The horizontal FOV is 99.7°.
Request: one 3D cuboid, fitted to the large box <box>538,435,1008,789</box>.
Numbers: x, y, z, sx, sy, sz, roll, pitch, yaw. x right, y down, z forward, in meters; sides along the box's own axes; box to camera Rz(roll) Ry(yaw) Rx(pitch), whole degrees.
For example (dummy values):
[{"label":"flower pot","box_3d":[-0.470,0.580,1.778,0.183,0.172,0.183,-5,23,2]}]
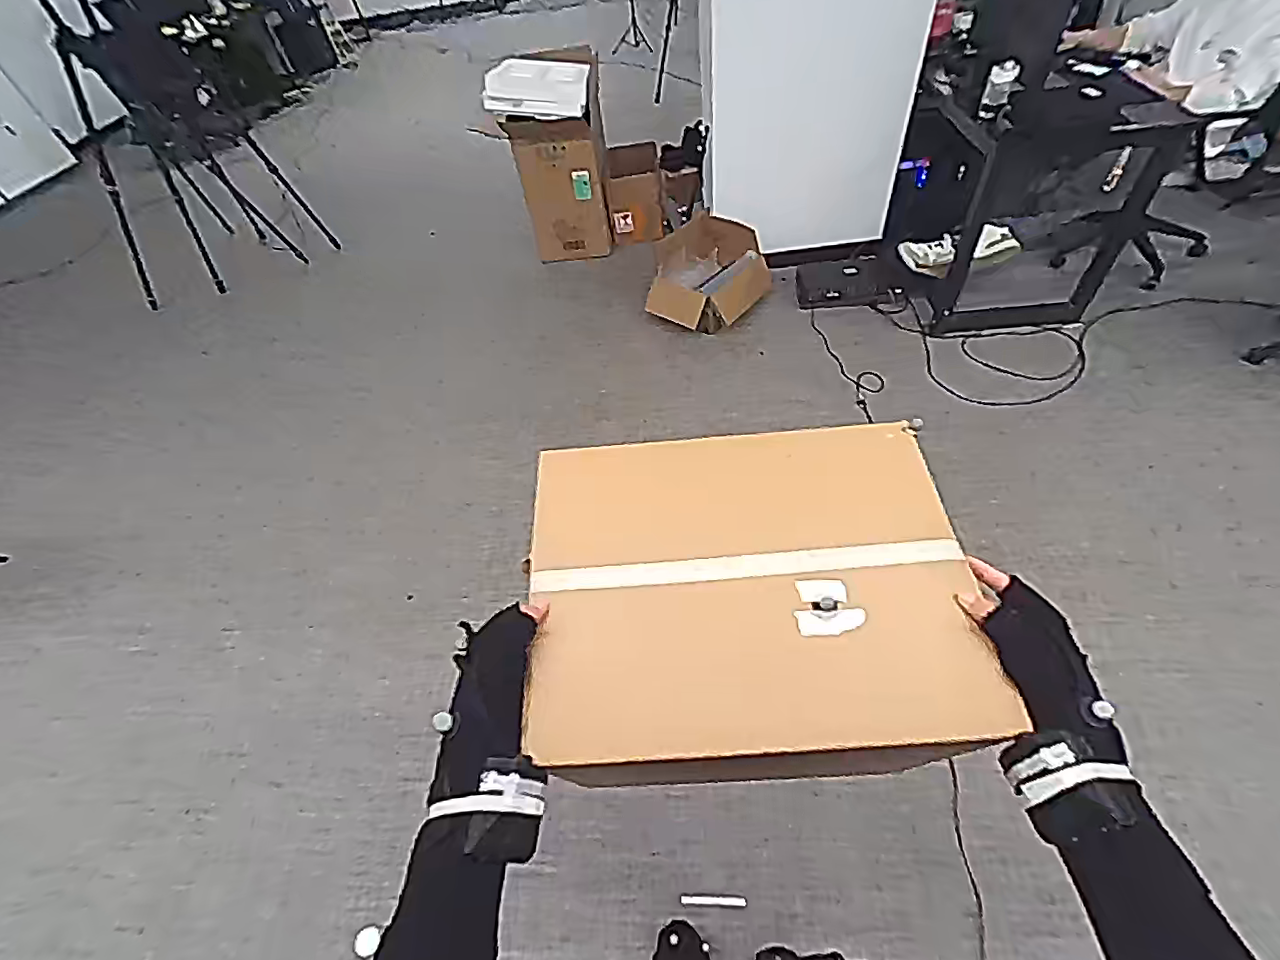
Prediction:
[{"label":"large box","box_3d":[0.109,0.175,0.654,0.408,0.320,0.320,-5,58,2]}]
